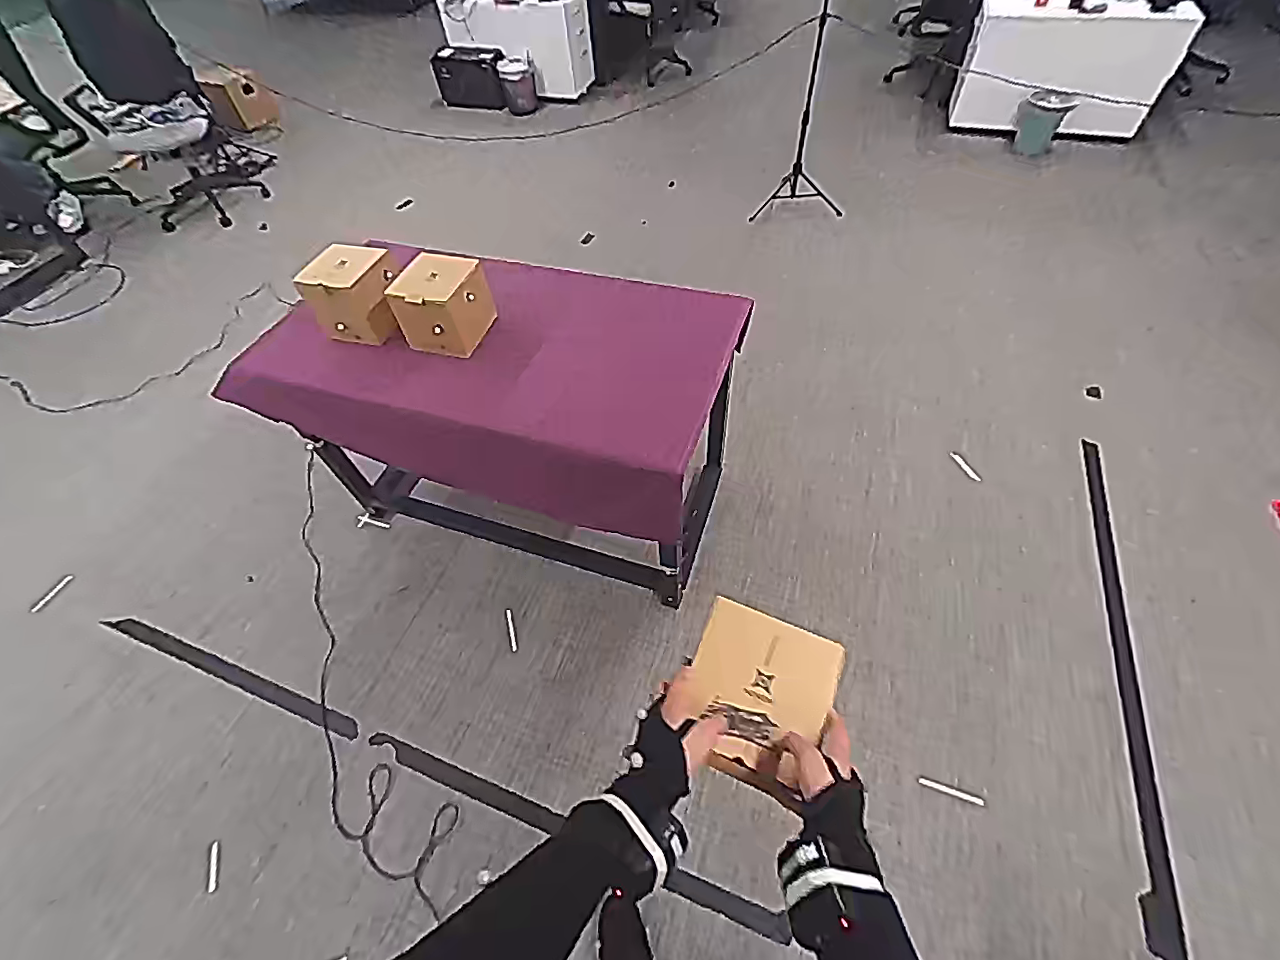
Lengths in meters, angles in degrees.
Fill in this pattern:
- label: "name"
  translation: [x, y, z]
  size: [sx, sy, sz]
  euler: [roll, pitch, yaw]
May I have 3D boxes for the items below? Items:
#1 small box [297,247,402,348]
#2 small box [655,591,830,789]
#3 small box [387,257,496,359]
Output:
- label: "small box"
  translation: [-0.722, -0.469, 1.393]
  size: [0.168, 0.176, 0.179]
  euler: [11, 55, 13]
- label: "small box"
  translation: [0.126, 0.276, 0.705]
  size: [0.168, 0.176, 0.179]
  euler: [20, 63, 10]
- label: "small box"
  translation: [-0.480, -0.424, 1.344]
  size: [0.168, 0.176, 0.179]
  euler: [12, 55, 12]
